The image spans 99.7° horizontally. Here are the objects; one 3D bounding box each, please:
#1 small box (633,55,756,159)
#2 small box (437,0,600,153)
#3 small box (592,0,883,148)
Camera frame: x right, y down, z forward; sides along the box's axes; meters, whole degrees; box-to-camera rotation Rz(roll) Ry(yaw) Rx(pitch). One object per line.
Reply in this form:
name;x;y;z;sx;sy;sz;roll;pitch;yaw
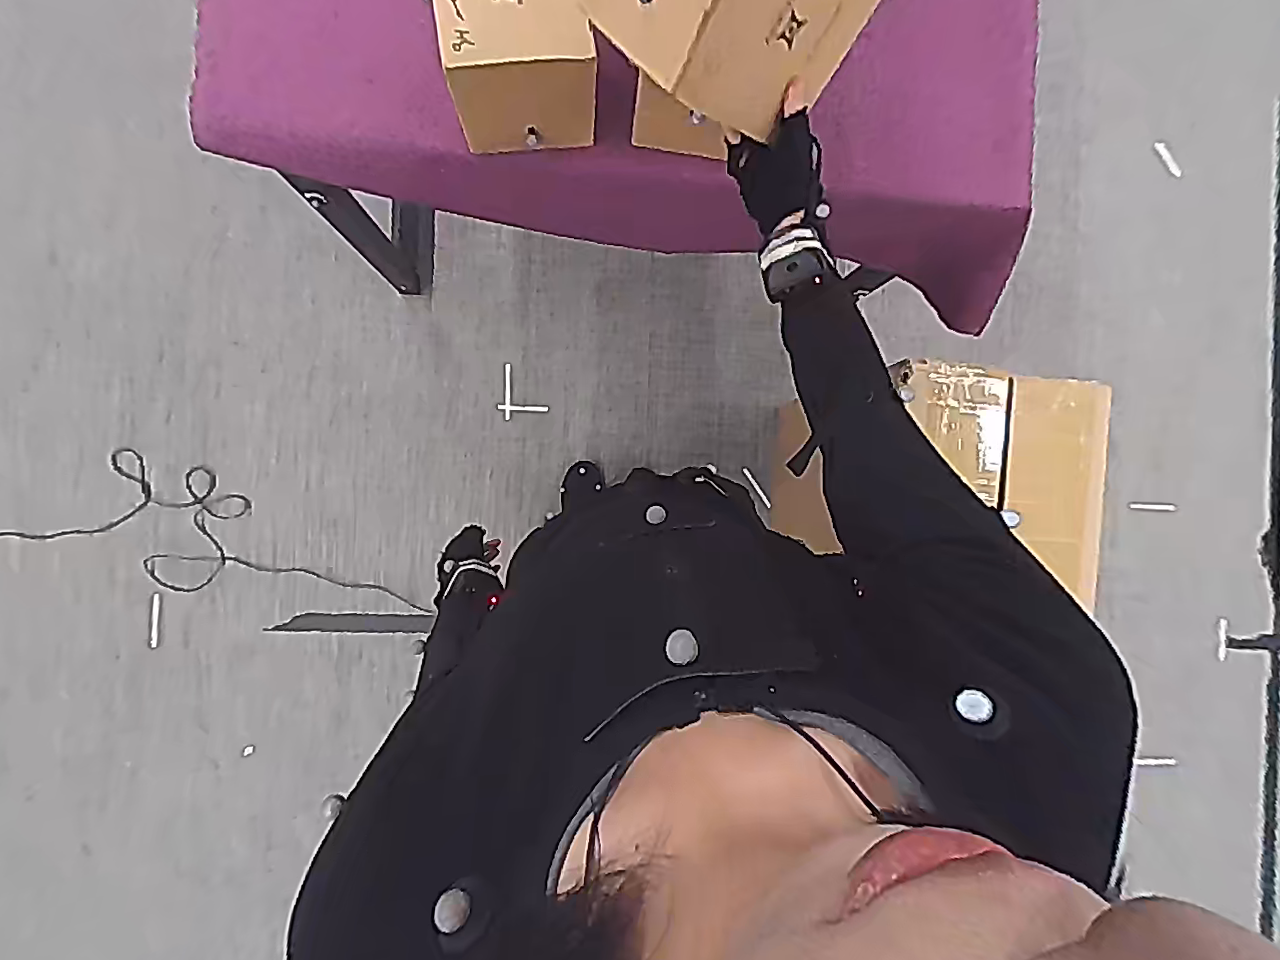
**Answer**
small box;0.090;-0.560;0.716;0.179;0.176;0.168;6;89;-5
small box;-0.153;-0.551;0.692;0.179;0.176;0.168;-9;90;-7
small box;0.087;-0.440;0.477;0.179;0.168;0.176;-14;62;-44
